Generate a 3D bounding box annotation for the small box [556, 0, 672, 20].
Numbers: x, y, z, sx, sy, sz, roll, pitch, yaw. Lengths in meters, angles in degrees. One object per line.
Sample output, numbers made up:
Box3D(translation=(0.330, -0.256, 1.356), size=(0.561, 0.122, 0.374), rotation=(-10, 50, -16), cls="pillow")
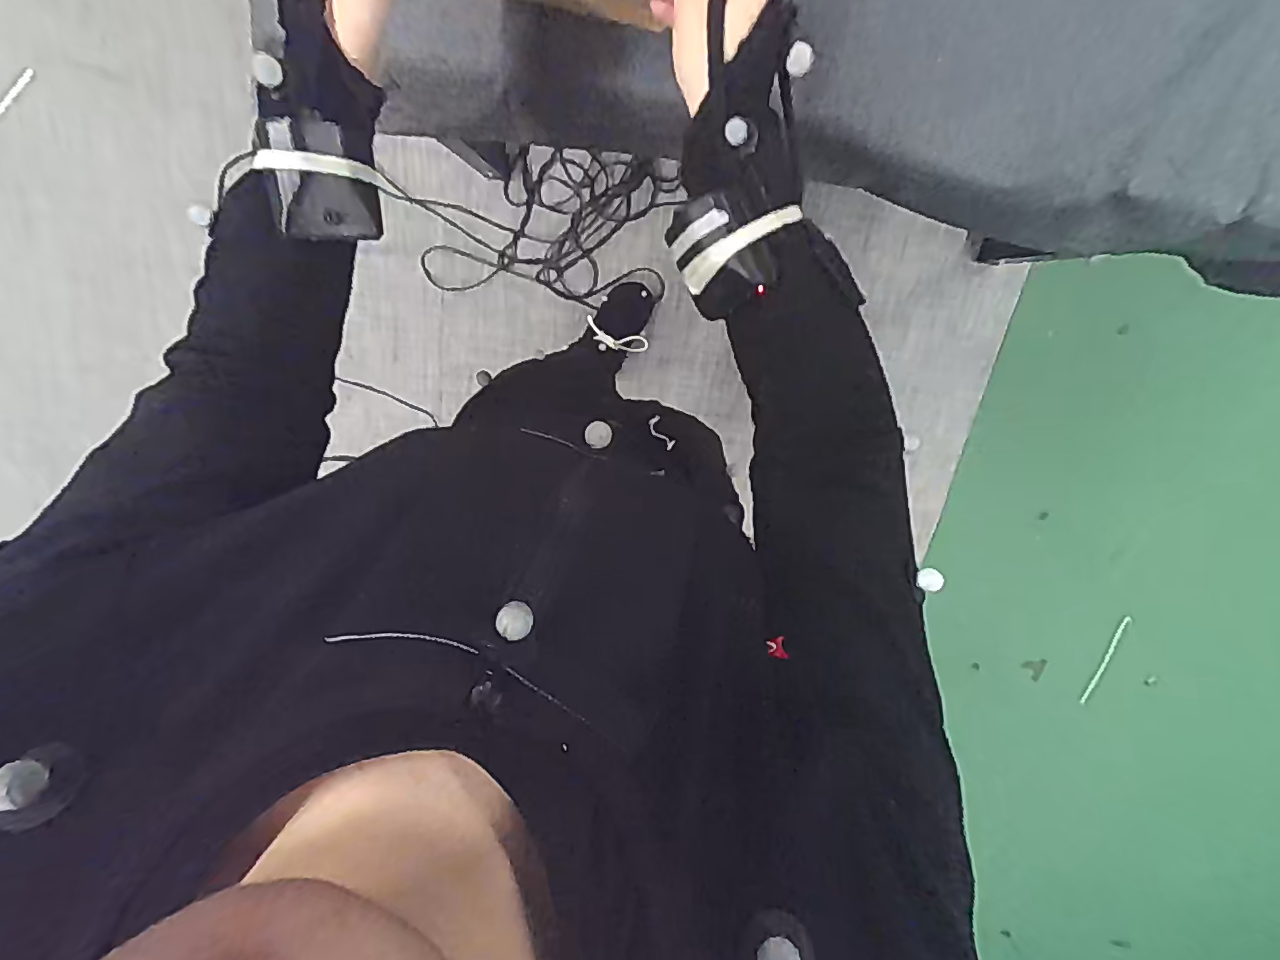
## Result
Box3D(translation=(-0.046, -0.424, 0.337), size=(0.179, 0.176, 0.168), rotation=(6, 118, -7), cls="small box")
